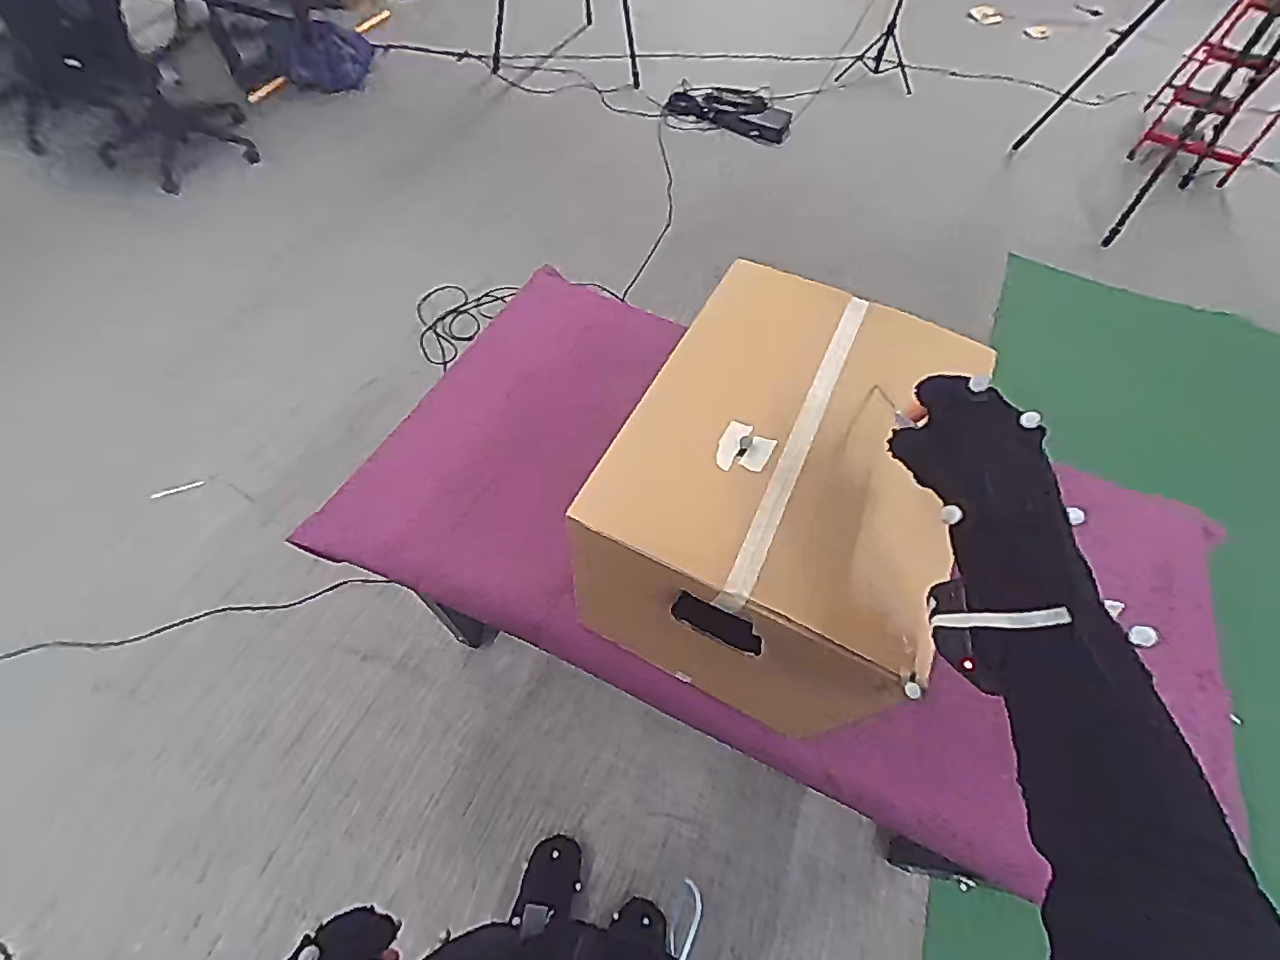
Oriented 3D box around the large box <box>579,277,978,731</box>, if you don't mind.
[{"bbox_3d":[0.155,0.033,0.676,0.320,0.320,0.408,25,61,11],"label":"large box"}]
